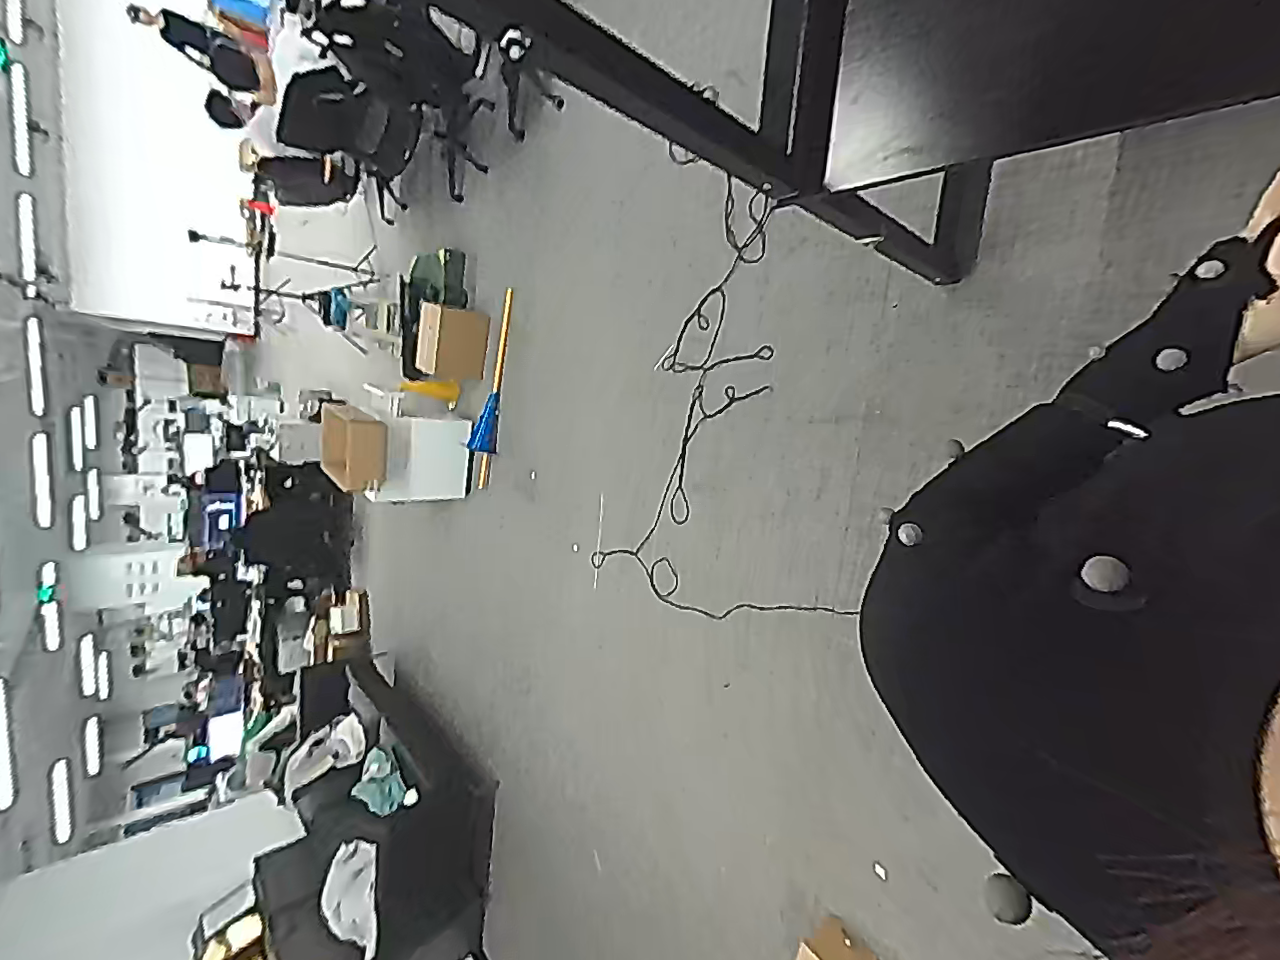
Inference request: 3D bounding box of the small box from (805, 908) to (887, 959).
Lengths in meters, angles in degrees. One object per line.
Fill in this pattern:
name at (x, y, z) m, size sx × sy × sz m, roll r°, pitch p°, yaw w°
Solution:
small box at (0.611, 1.452, 1.617) m, size 0.168 × 0.176 × 0.179 m, roll 23°, pitch 108°, yaw 45°
